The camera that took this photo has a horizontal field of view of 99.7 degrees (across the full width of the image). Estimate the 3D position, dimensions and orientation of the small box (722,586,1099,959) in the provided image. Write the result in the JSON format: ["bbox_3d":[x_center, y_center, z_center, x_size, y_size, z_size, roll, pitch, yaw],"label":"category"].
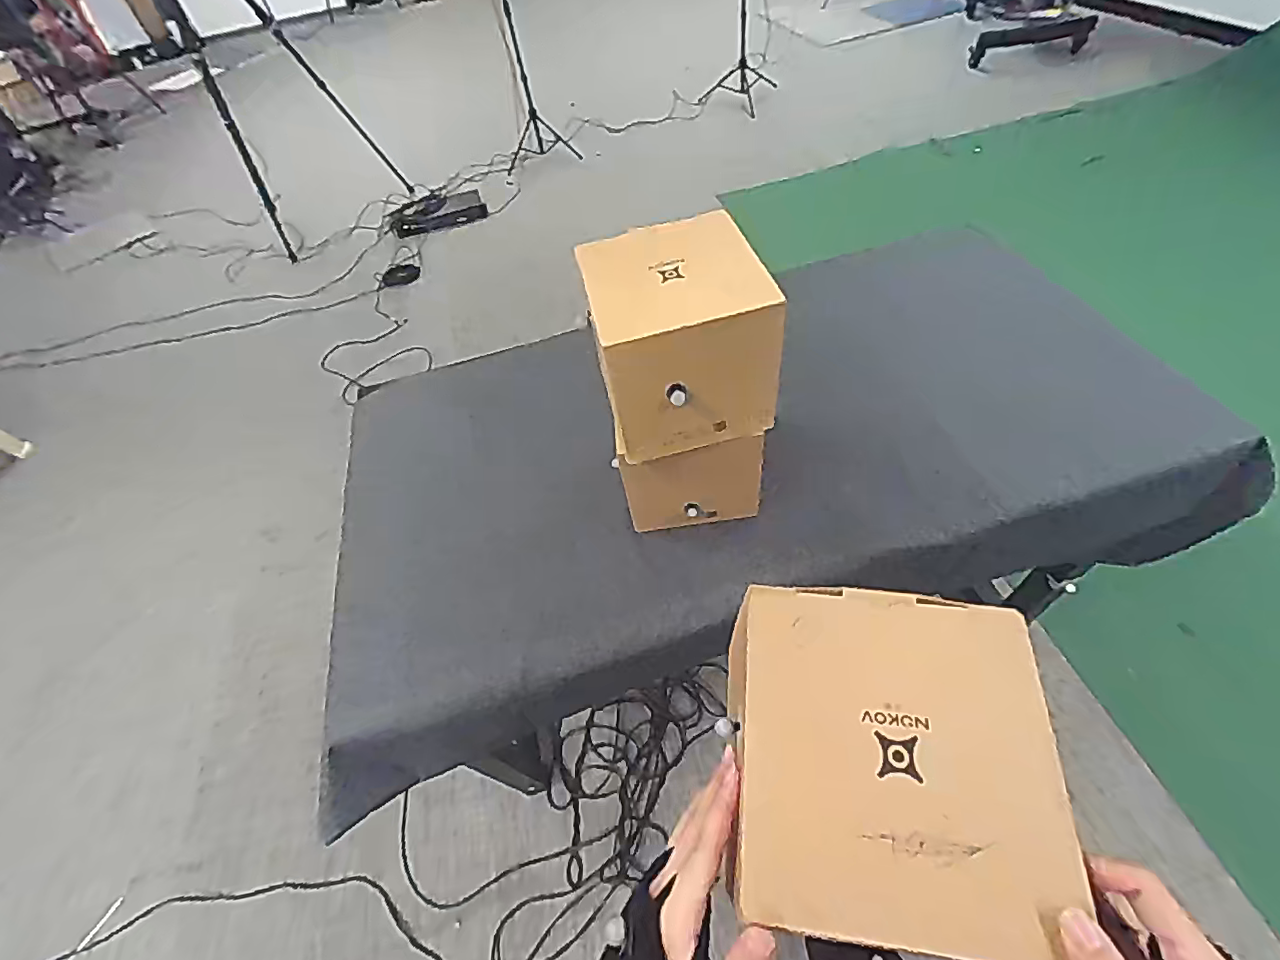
[{"bbox_3d":[0.145,0.191,0.364,0.168,0.176,0.179,4,59,8],"label":"small box"}]

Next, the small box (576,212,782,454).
[{"bbox_3d":[0.040,-0.147,0.575,0.168,0.176,0.179,-15,52,-2],"label":"small box"}]
